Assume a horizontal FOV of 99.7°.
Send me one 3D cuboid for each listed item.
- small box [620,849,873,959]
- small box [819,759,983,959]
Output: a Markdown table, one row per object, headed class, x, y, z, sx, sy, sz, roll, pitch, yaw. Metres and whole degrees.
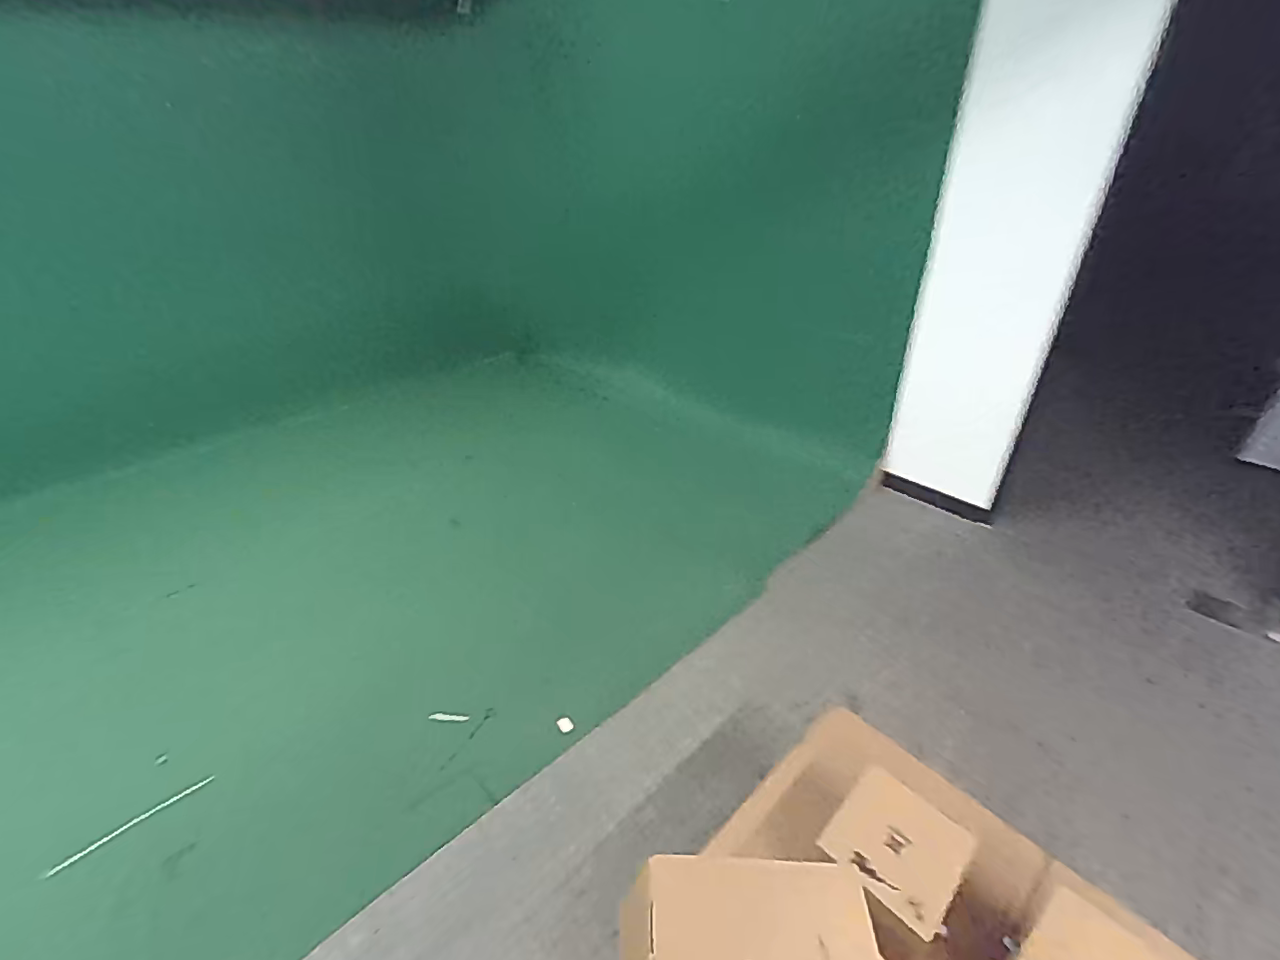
| class | x | y | z | sx | sy | sz | roll | pitch | yaw |
| --- | --- | --- | --- | --- | --- | --- | --- | --- | --- |
| small box | 0.074 | 0.414 | 0.427 | 0.179 | 0.176 | 0.168 | 6 | 42 | -5 |
| small box | 0.387 | 0.586 | 0.831 | 0.179 | 0.176 | 0.168 | -29 | 39 | -33 |
